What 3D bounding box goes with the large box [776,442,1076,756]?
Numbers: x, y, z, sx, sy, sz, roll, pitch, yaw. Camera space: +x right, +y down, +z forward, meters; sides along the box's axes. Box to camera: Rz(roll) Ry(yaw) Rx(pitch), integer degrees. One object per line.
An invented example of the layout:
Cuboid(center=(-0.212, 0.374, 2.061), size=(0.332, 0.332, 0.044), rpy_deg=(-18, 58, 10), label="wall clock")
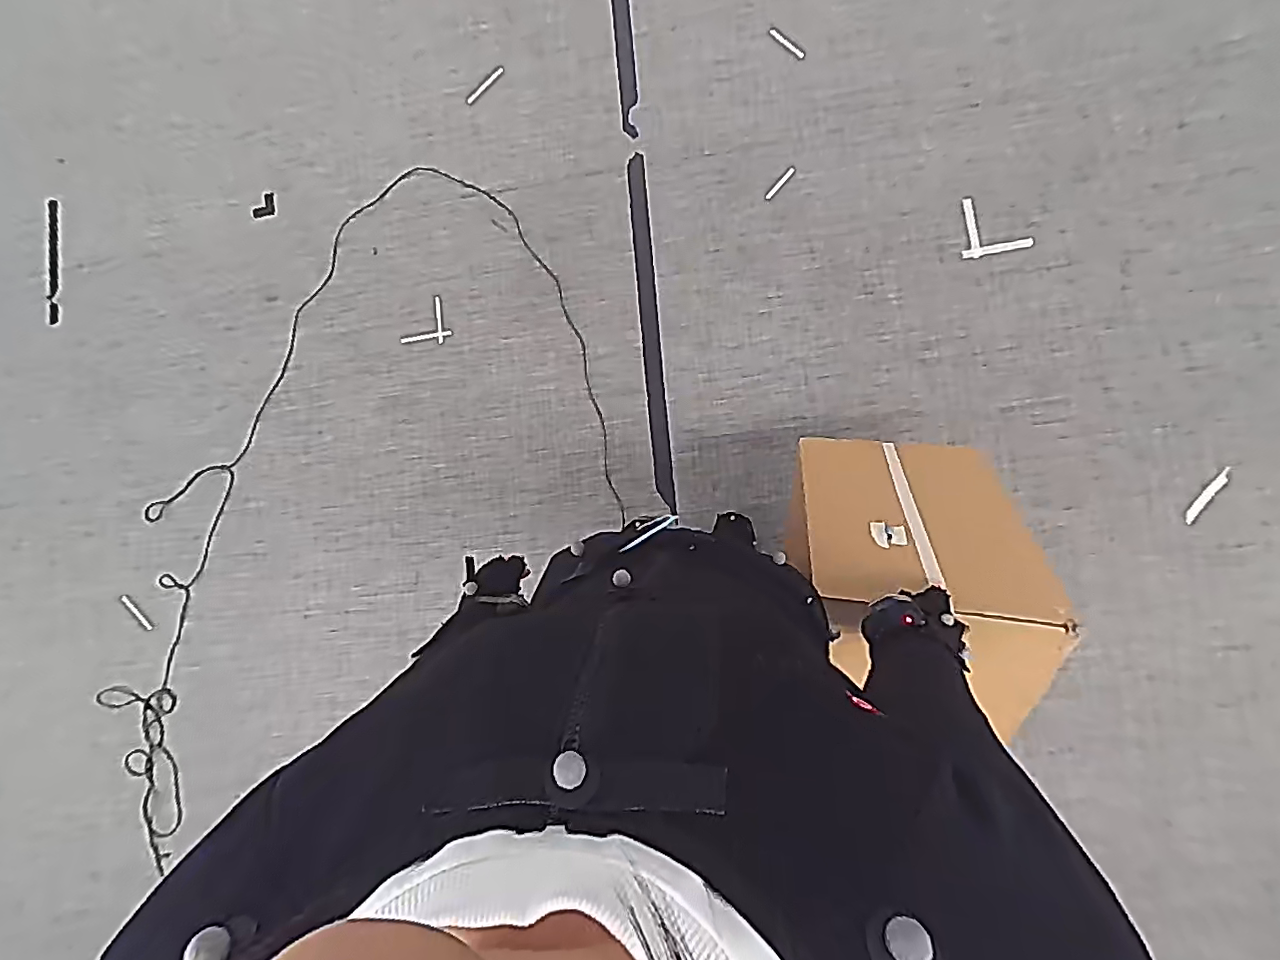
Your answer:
Cuboid(center=(0.415, 0.178, 0.921), size=(0.320, 0.408, 0.320), rpy_deg=(5, 127, 9), label="large box")
